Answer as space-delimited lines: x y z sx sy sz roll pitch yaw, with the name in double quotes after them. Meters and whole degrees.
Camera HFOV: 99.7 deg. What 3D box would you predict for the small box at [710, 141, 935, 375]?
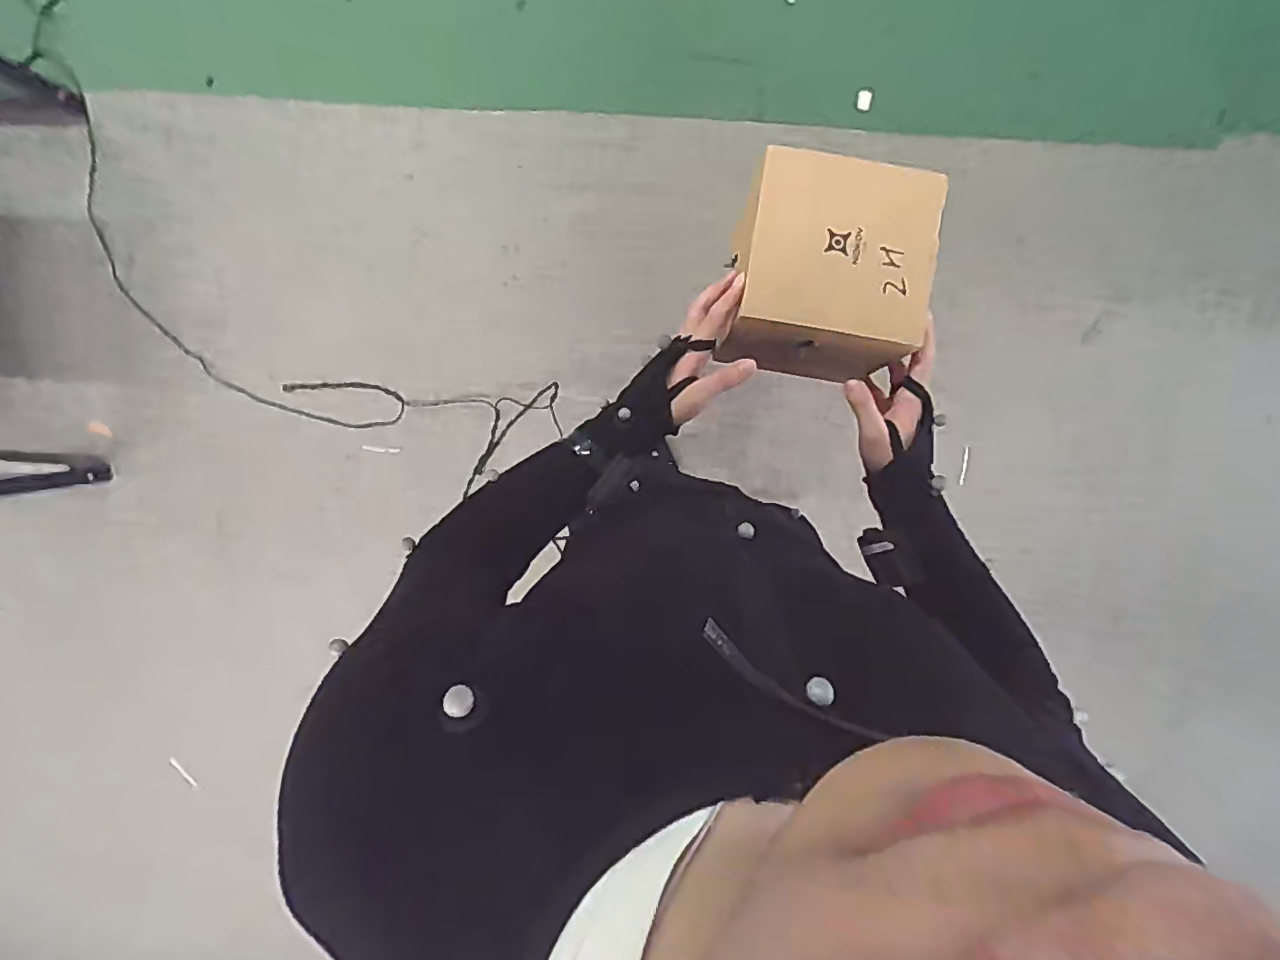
0.178 -0.220 0.582 0.179 0.176 0.168 9 87 -1 "small box"
